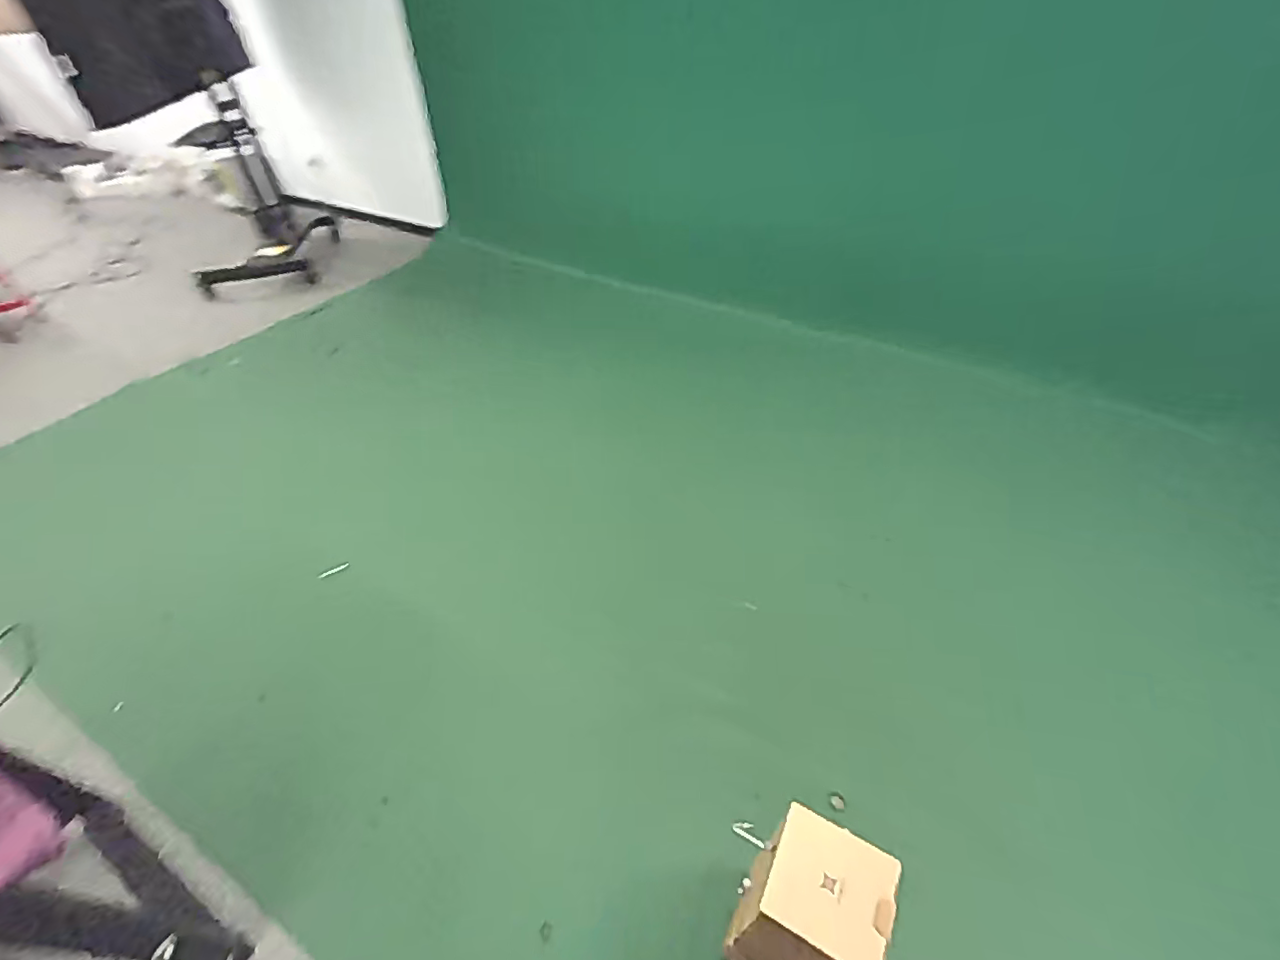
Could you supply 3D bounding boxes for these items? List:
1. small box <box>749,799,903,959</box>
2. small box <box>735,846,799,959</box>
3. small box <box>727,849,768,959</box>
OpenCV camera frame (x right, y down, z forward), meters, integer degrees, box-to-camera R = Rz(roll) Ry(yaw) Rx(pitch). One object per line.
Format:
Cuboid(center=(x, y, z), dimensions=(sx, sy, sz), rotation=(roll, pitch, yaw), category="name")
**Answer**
Cuboid(center=(0.288, 0.659, 0.861), dimensions=(0.179, 0.176, 0.168), rotation=(22, 48, 20), category="small box")
Cuboid(center=(0.291, 0.776, 0.970), dimensions=(0.179, 0.176, 0.168), rotation=(24, 47, 22), category="small box")
Cuboid(center=(0.284, 0.896, 1.086), dimensions=(0.168, 0.176, 0.179), rotation=(22, 48, 22), category="small box")
